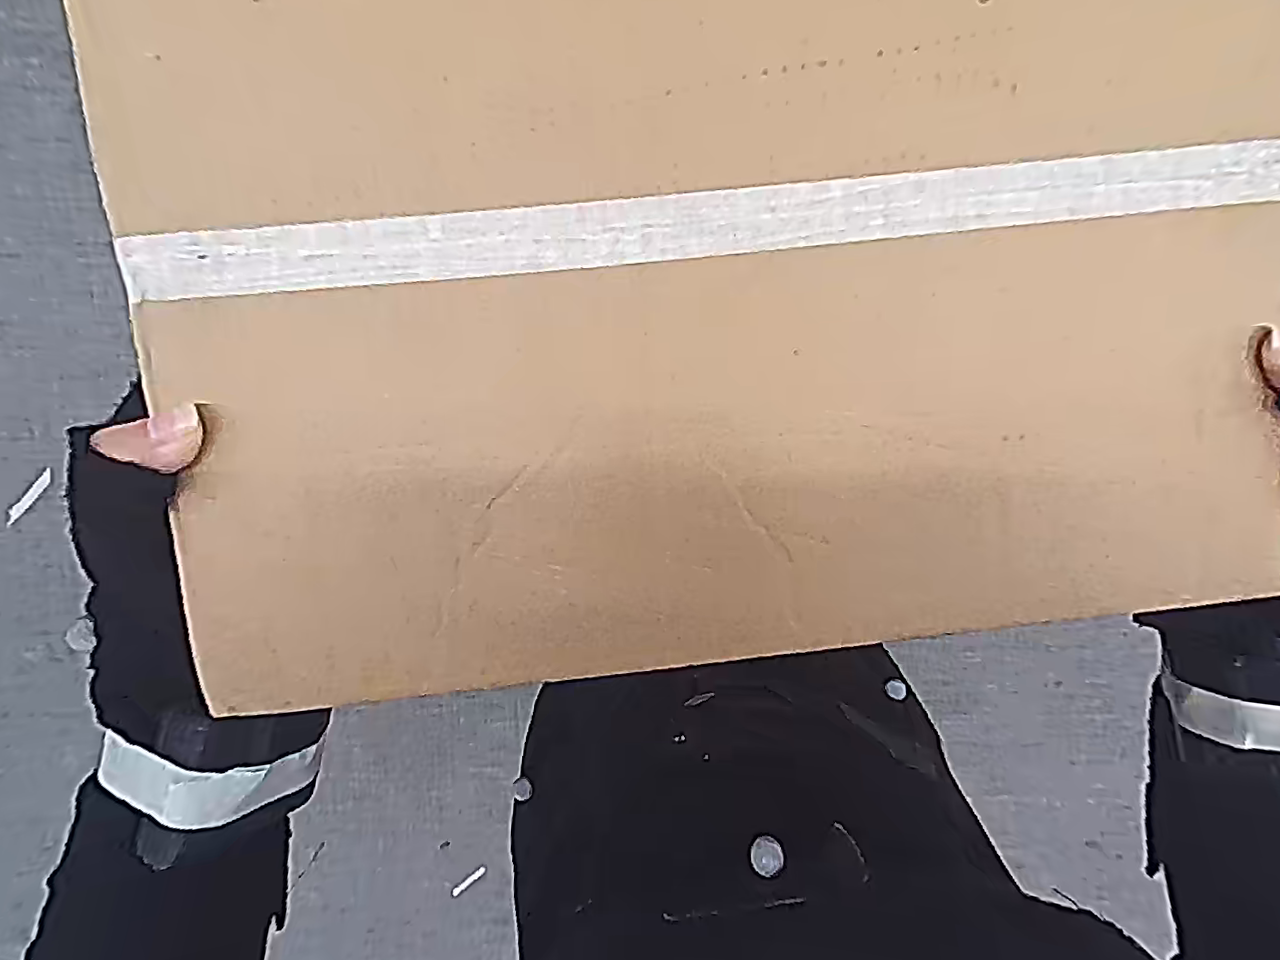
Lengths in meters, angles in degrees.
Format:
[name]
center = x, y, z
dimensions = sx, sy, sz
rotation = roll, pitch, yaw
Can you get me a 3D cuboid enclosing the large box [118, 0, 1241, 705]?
[large box]
center = 0.025, -0.102, 0.349
dimensions = 0.408, 0.320, 0.320
rotation = -6, 95, -3
